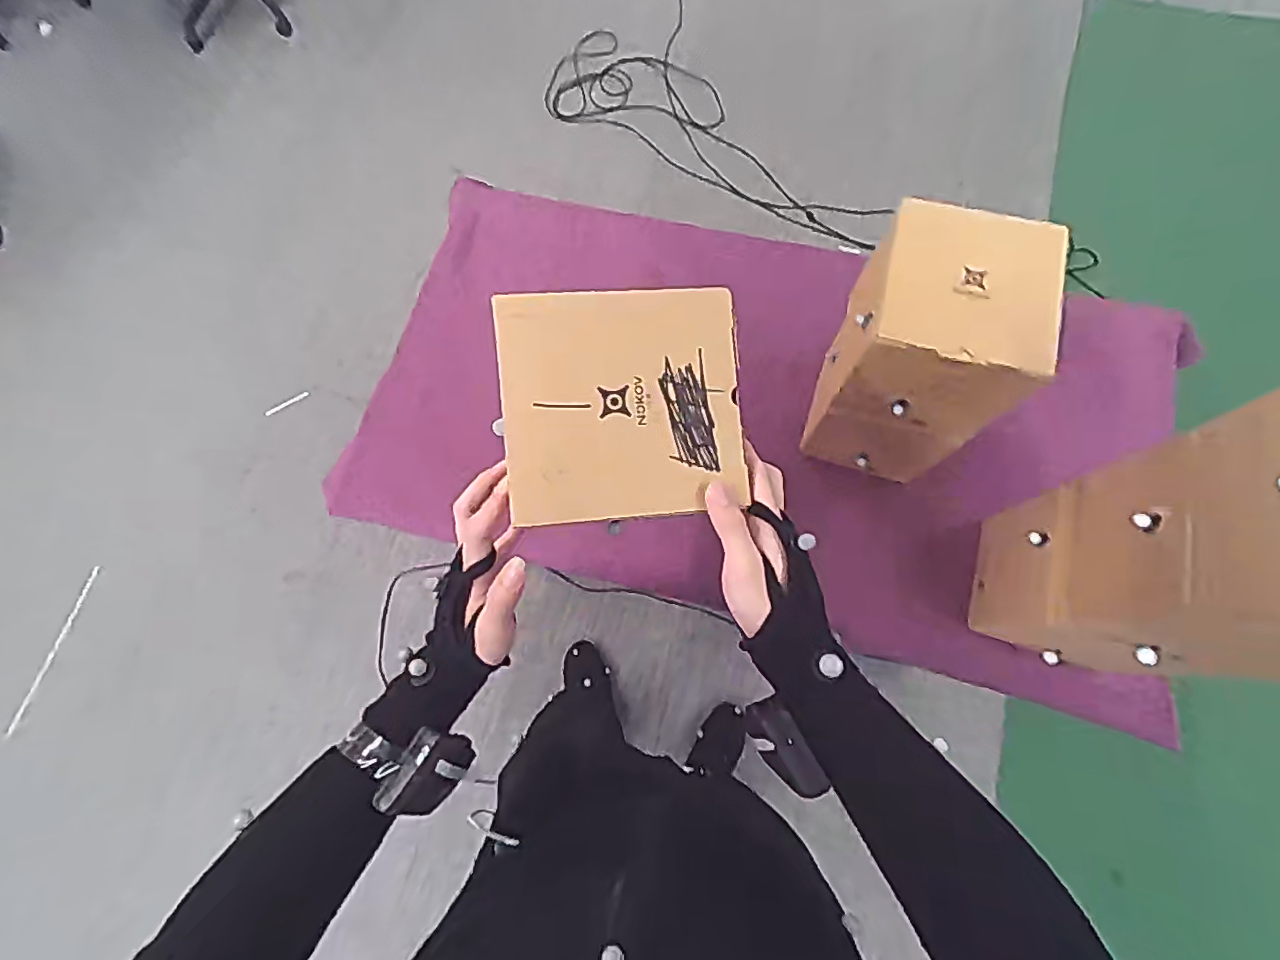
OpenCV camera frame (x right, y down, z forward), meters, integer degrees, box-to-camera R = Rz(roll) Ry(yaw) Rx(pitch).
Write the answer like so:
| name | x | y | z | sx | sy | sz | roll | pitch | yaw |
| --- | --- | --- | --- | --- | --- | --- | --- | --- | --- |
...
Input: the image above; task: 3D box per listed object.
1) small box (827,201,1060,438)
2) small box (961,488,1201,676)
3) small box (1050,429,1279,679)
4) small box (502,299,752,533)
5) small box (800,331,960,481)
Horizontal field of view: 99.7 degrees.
| name | x | y | z | sx | sy | sz | roll | pitch | yaw |
| --- | --- | --- | --- | --- | --- | --- | --- | --- | --- |
| small box | 0.327 | -0.170 | 0.613 | 0.168 | 0.176 | 0.179 | 15 | 76 | 7 |
| small box | 0.547 | 0.131 | 0.680 | 0.179 | 0.176 | 0.168 | 18 | 74 | 8 |
| small box | 0.542 | 0.079 | 0.525 | 0.168 | 0.176 | 0.179 | 17 | 75 | 10 |
| small box | -0.020 | -0.046 | 0.468 | 0.179 | 0.176 | 0.168 | -4 | 87 | -8 |
| small box | 0.341 | -0.120 | 0.767 | 0.168 | 0.176 | 0.179 | 18 | 75 | 8 |
